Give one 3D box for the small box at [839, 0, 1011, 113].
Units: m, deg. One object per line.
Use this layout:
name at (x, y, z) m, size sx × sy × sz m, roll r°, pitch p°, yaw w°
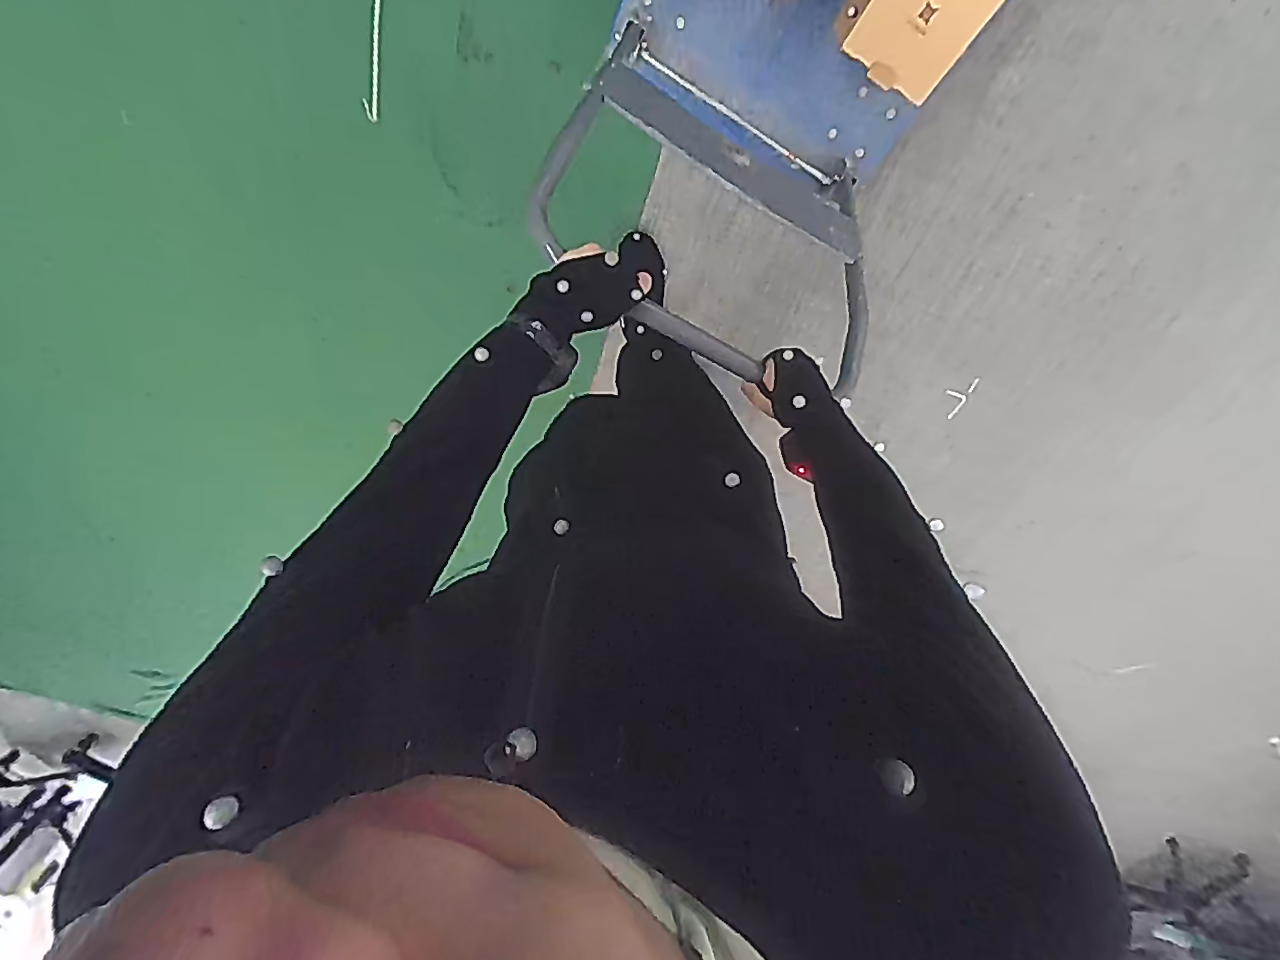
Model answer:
small box at (0.437, -0.740, 0.857) m, size 0.168 × 0.176 × 0.179 m, roll 25°, pitch 139°, yaw -15°
